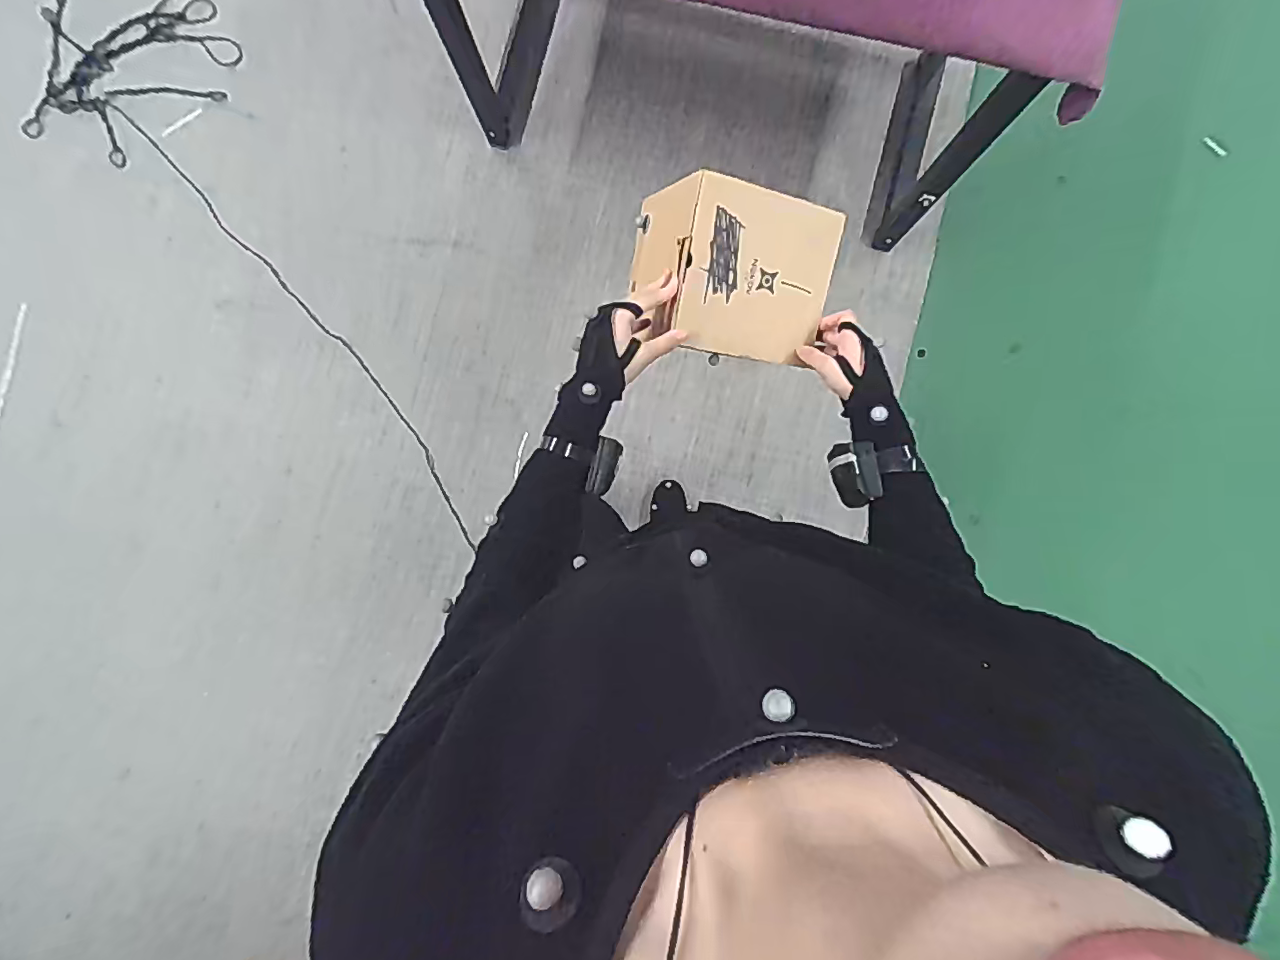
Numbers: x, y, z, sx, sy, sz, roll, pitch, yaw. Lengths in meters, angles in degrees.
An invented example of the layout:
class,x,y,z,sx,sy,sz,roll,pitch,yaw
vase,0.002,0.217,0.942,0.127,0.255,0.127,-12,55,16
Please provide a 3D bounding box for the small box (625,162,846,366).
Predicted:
class,x,y,z,sx,sy,sz,roll,pitch,yaw
small box,0.095,-0.233,0.622,0.179,0.176,0.168,5,105,-22
